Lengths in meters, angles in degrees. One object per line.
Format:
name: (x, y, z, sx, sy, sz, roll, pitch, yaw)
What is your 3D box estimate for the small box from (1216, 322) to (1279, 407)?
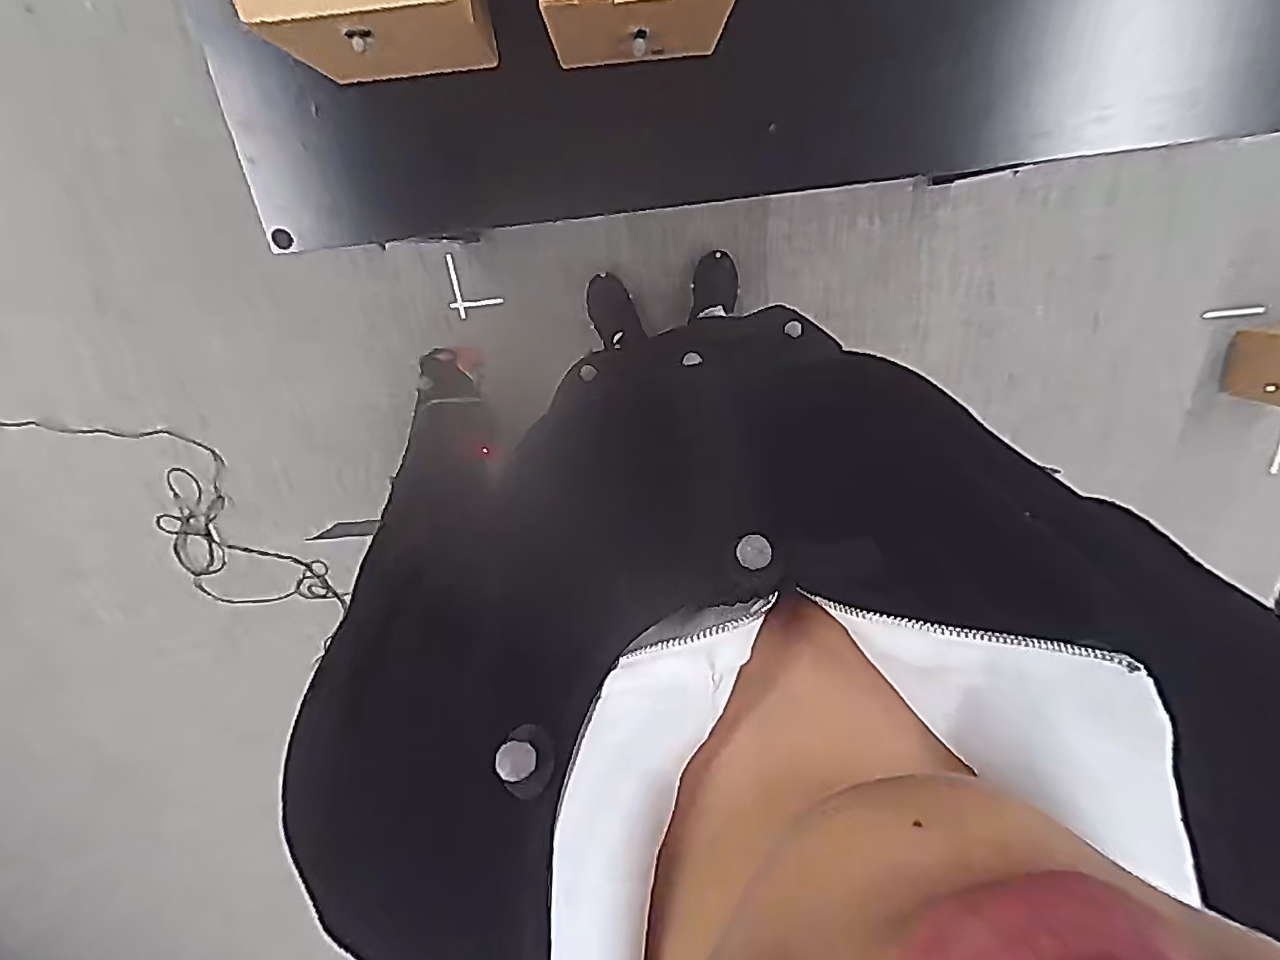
small box: (1.657, -0.302, 1.387, 0.168, 0.176, 0.179, -7, 113, 2)

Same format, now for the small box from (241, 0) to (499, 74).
small box: (-0.240, -0.484, 0.475, 0.179, 0.176, 0.168, -6, 114, 0)

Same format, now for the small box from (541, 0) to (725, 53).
small box: (-0.008, -0.502, 0.472, 0.168, 0.176, 0.179, -5, 114, 0)
